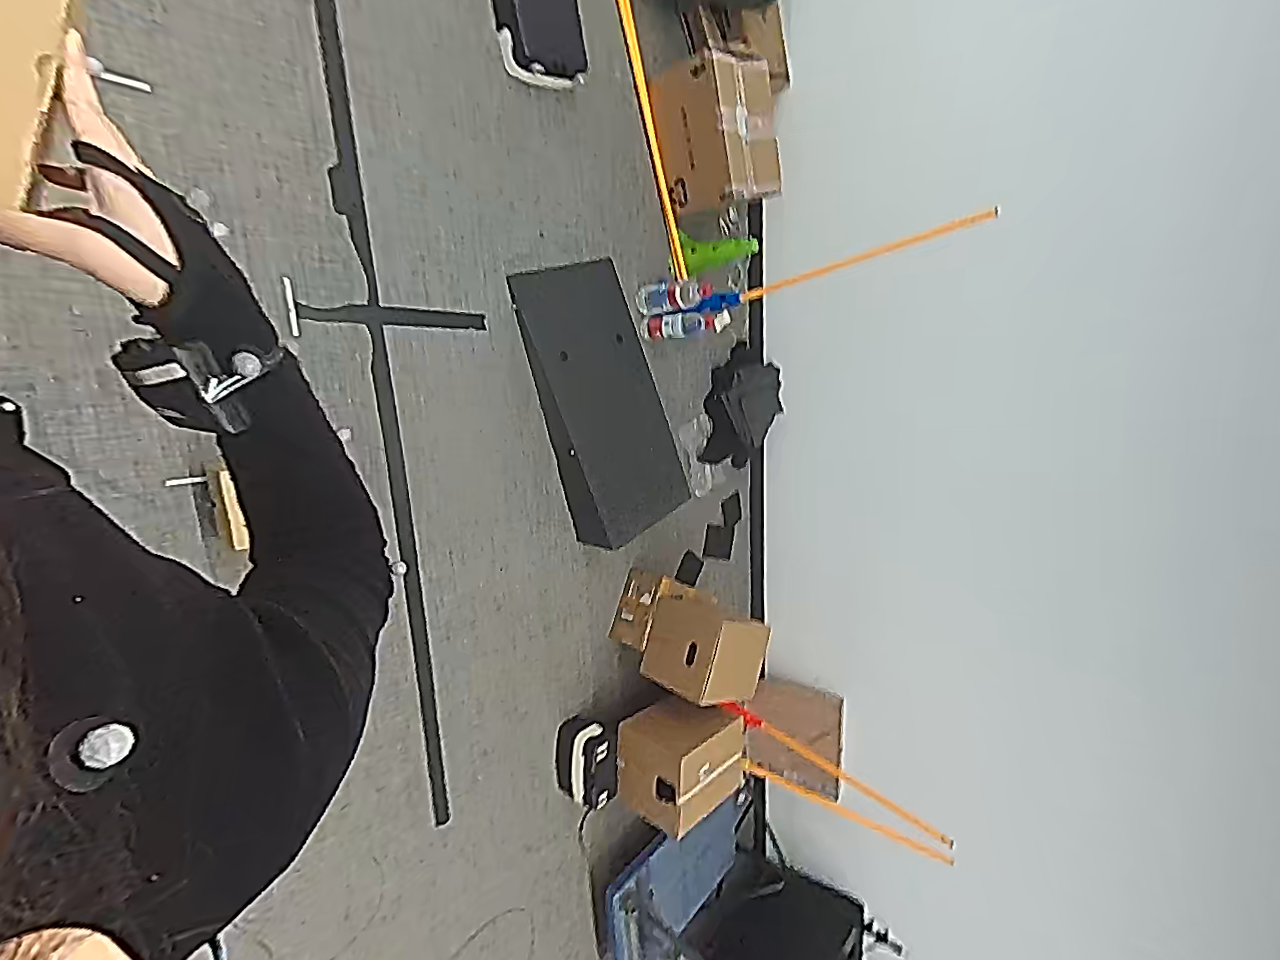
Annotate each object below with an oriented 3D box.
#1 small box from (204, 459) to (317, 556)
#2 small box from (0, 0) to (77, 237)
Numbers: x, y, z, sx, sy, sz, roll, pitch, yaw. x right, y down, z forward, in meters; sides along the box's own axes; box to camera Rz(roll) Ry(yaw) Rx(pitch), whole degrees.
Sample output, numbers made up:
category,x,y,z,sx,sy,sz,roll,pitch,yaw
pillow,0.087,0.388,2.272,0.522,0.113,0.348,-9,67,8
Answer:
category,x,y,z,sx,sy,sz,roll,pitch,yaw
small box,-0.860,0.054,1.226,0.168,0.176,0.179,-14,107,-46
small box,-0.418,-0.236,0.264,0.179,0.176,0.168,14,90,-49
